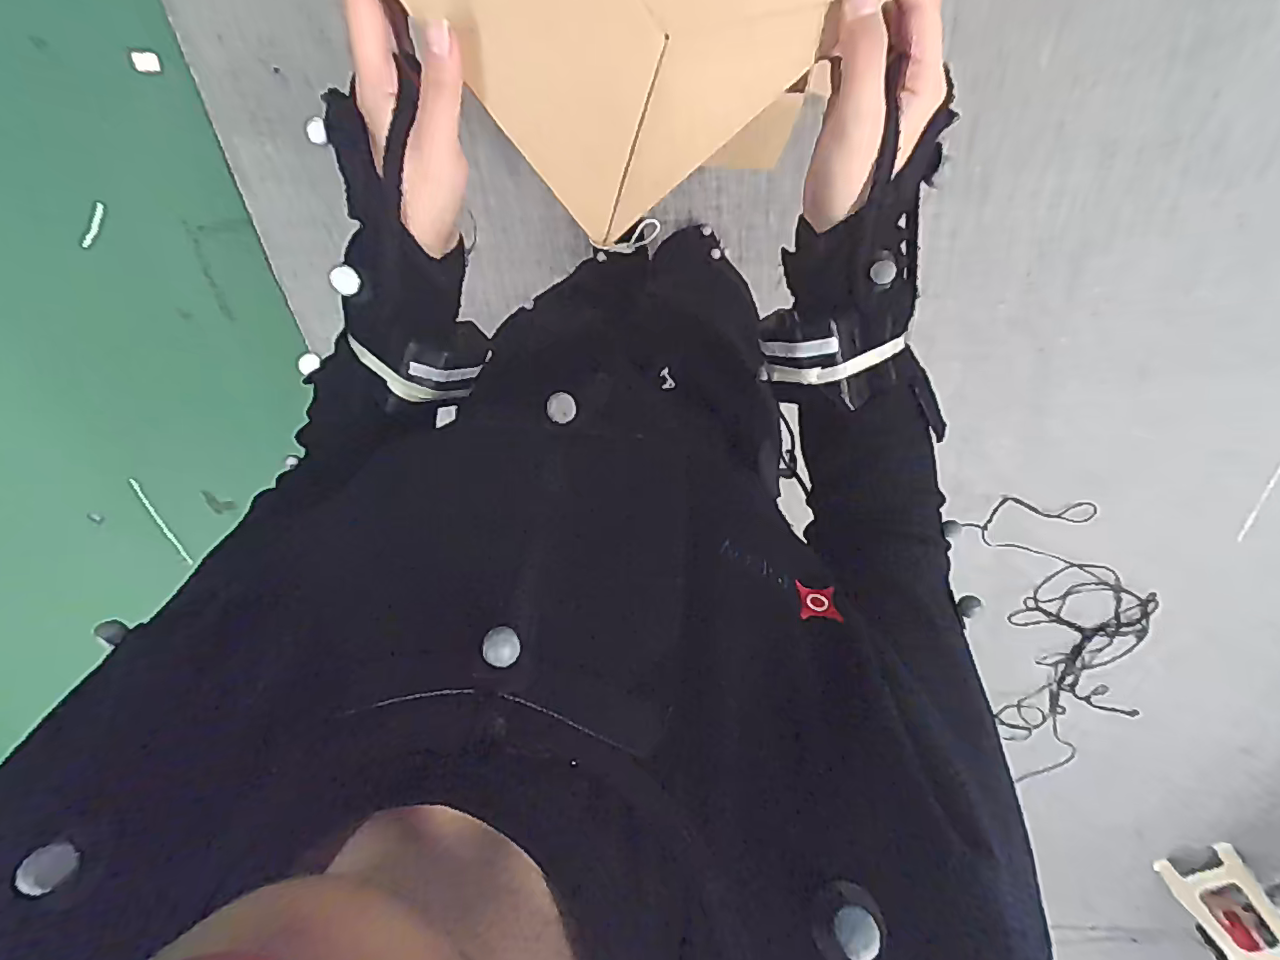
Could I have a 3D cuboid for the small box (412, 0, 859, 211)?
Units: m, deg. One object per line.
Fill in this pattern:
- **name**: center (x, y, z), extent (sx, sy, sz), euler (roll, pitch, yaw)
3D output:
- **small box**: center (-0.001, -0.282, 0.296), extent (0.179, 0.176, 0.168), euler (-32, 120, 25)
